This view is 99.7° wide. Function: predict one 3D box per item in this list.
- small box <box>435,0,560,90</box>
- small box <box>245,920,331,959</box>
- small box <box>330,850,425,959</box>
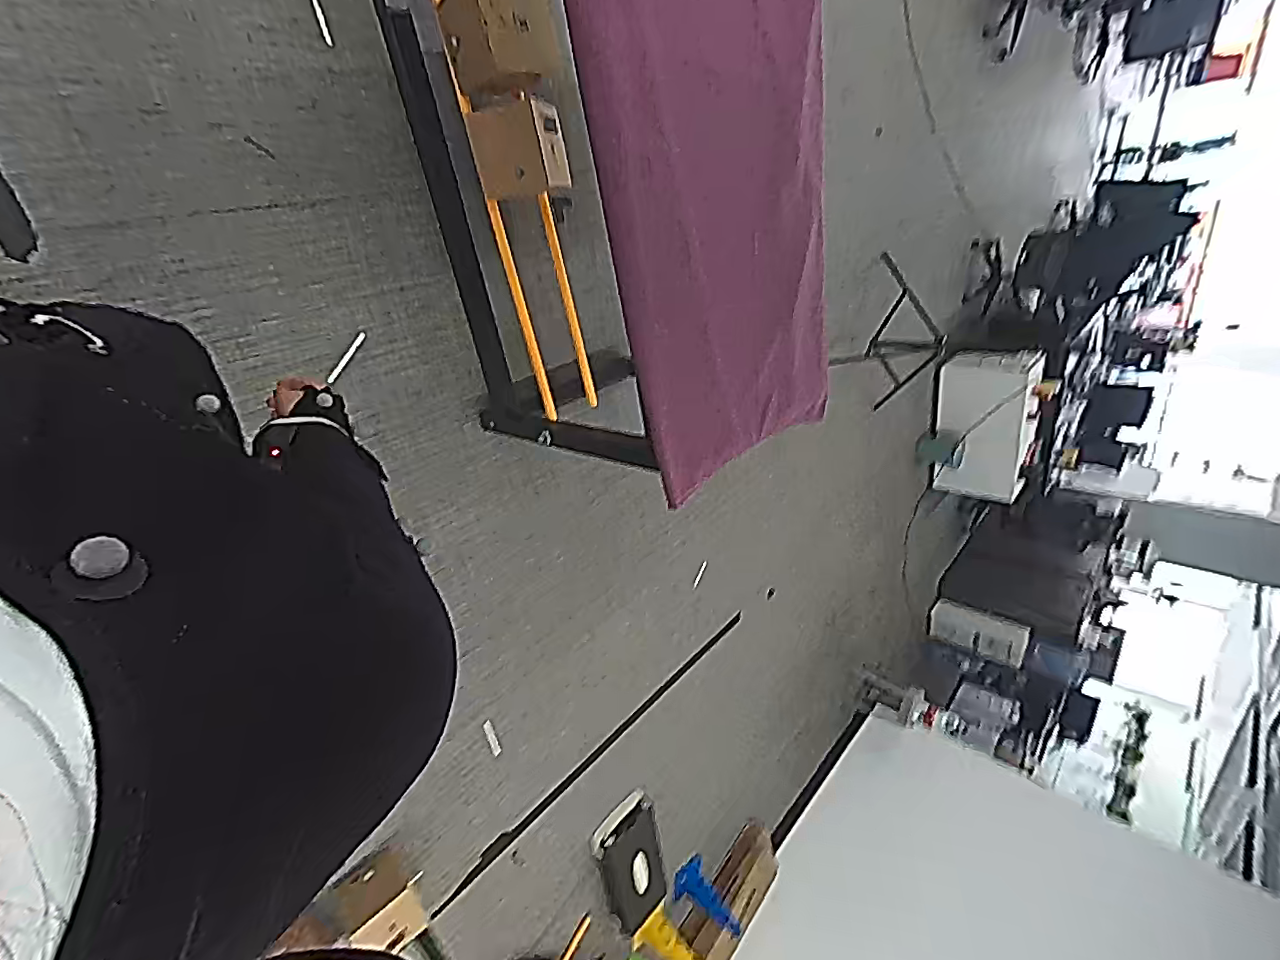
[{"bbox_3d":[-0.306,-0.962,1.164,0.179,0.176,0.168,-33,123,-34],"label":"small box"},{"bbox_3d":[-0.892,1.289,1.380,0.168,0.176,0.179,-30,121,-36],"label":"small box"},{"bbox_3d":[-0.733,1.192,1.510,0.168,0.176,0.179,-28,119,-38],"label":"small box"}]
